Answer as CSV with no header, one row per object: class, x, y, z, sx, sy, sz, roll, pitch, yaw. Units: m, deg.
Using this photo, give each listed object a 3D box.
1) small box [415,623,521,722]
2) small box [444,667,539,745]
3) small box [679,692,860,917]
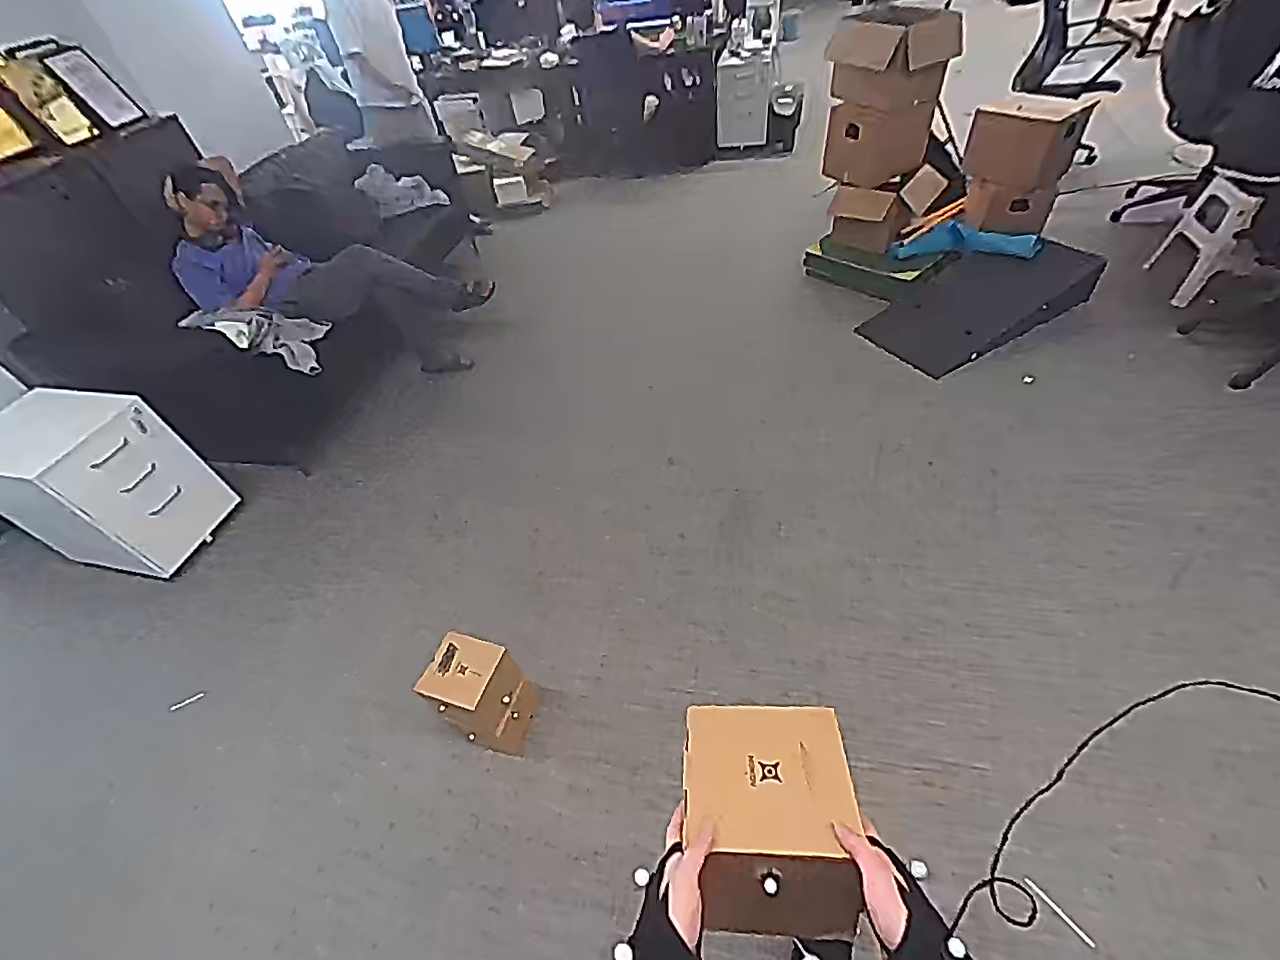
small box,-0.436,0.503,1.402,0.179,0.176,0.168,11,50,18
small box,-0.408,0.618,1.517,0.179,0.176,0.168,9,48,17
small box,0.140,0.371,0.628,0.179,0.176,0.168,-1,29,7
